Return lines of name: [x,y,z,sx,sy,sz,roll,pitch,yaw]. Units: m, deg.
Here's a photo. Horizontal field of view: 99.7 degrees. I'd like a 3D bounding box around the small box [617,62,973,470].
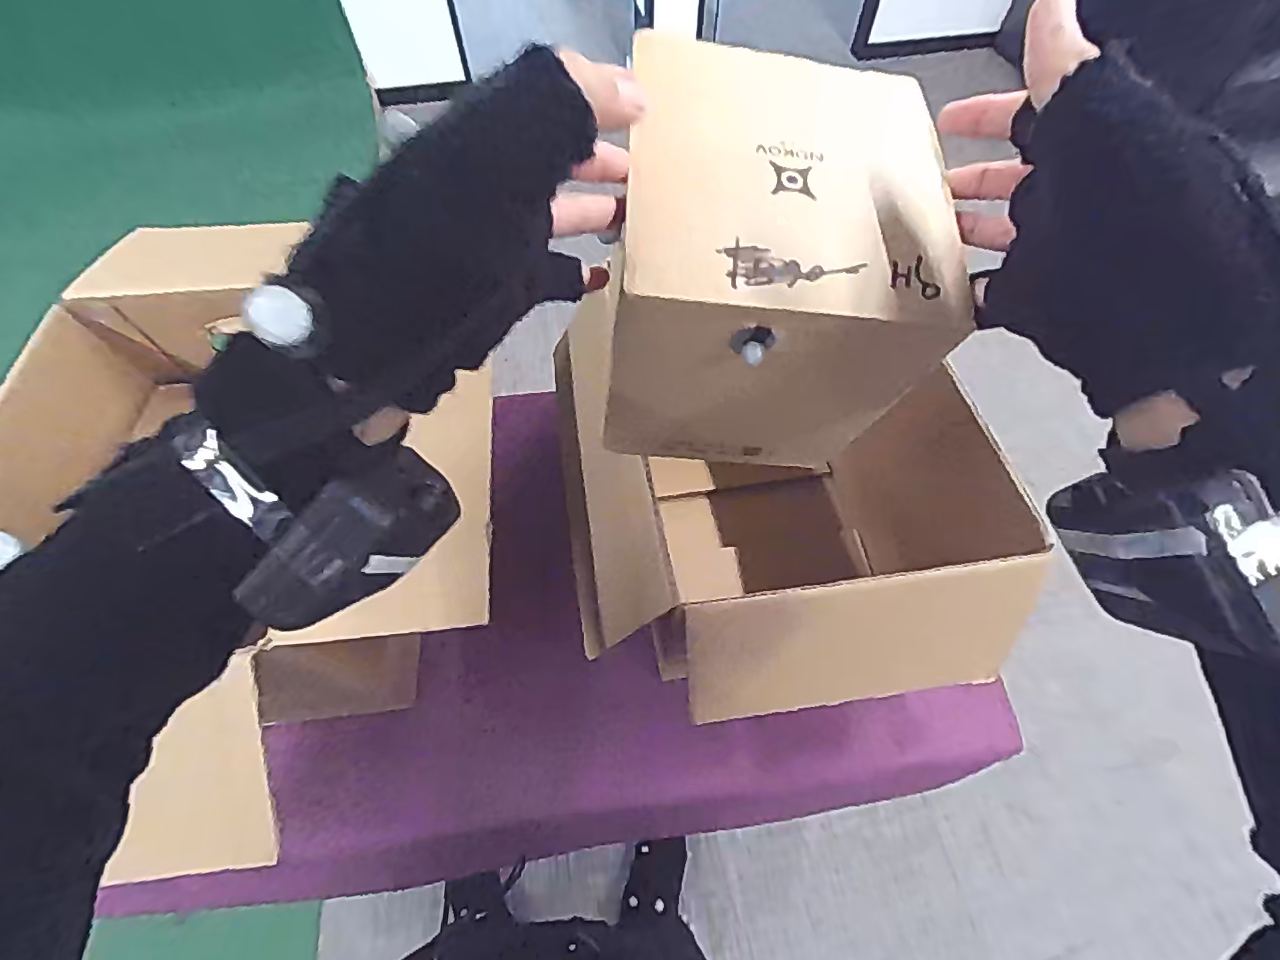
small box: [0.073,-0.124,0.359,0.168,0.176,0.179,4,67,-5]
